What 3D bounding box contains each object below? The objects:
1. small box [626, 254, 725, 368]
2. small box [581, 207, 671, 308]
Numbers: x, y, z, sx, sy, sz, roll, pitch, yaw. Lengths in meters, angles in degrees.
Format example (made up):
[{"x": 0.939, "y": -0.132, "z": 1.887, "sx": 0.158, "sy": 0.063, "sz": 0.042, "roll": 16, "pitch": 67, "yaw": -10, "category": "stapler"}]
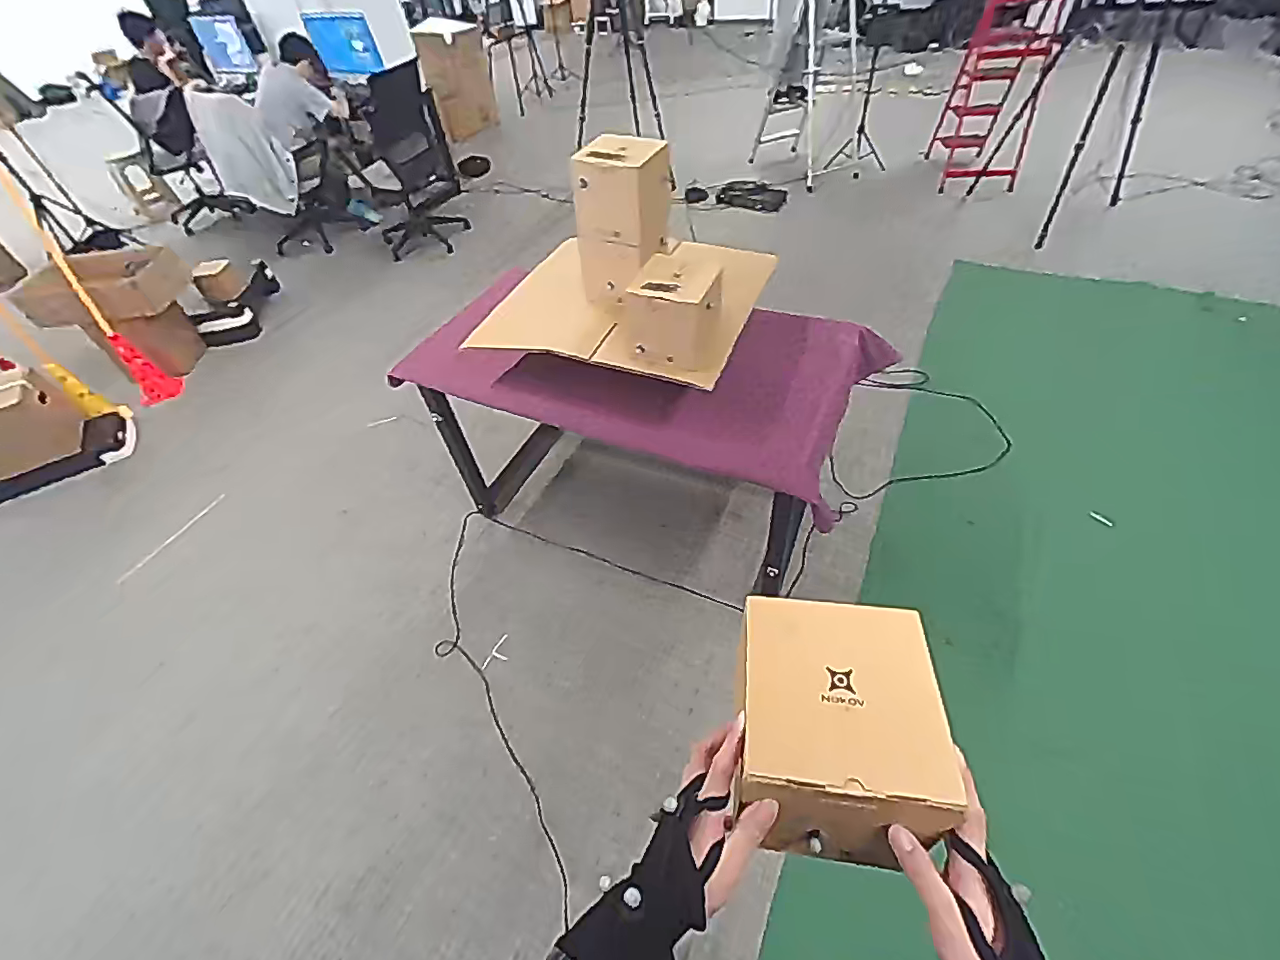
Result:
[{"x": 0.082, "y": -0.373, "z": 1.202, "sx": 0.168, "sy": 0.176, "sz": 0.179, "roll": 17, "pitch": 52, "yaw": 17, "category": "small box"}, {"x": -0.031, "y": -0.558, "z": 1.368, "sx": 0.168, "sy": 0.176, "sz": 0.179, "roll": 18, "pitch": 53, "yaw": 17, "category": "small box"}]
